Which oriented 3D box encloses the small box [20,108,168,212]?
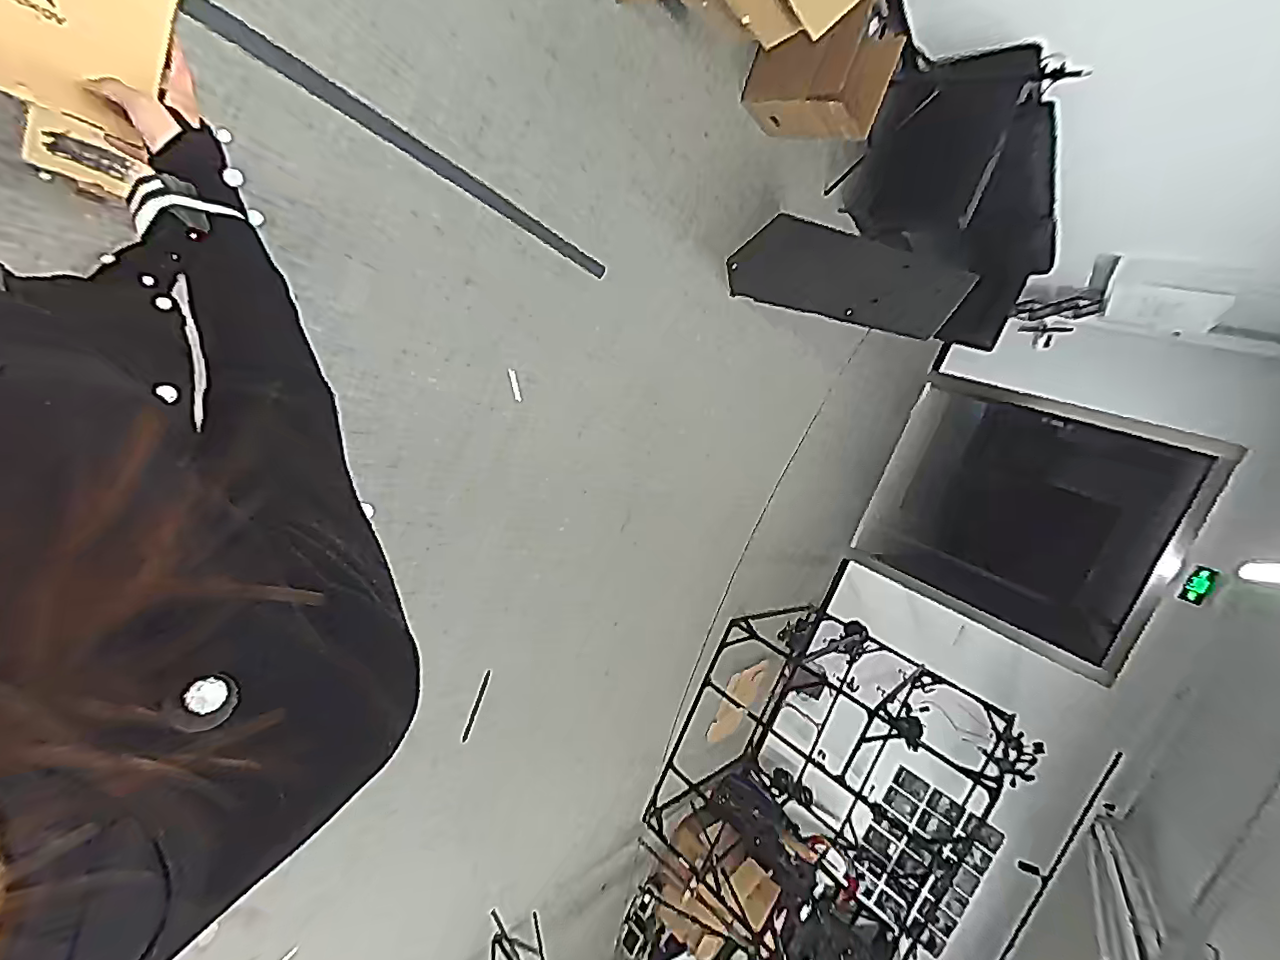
[{"bbox_3d":[-1.009,-0.625,0.998,0.168,0.176,0.179,6,108,-52],"label":"small box"}]

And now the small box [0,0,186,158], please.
[{"bbox_3d":[-0.541,-0.444,0.498,0.168,0.176,0.179,10,119,-46],"label":"small box"}]
